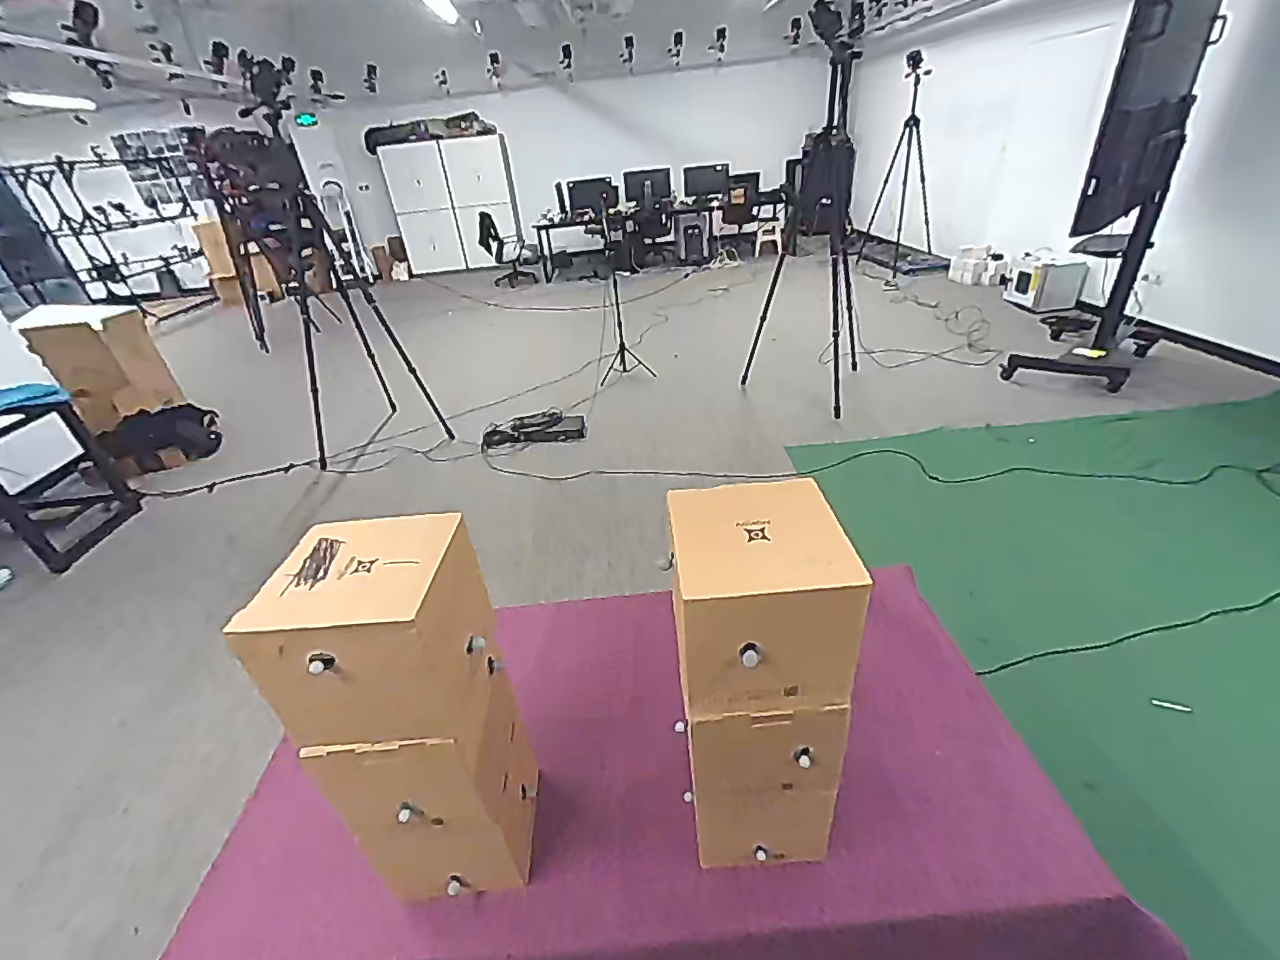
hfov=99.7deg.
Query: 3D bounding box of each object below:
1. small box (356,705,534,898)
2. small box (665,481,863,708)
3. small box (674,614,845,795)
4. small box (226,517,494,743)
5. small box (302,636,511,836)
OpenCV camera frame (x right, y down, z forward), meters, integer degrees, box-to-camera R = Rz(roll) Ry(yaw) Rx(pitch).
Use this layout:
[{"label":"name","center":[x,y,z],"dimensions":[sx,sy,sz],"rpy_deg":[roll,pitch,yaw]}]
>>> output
[{"label":"small box","center":[-0.250,0.442,0.749],"dimensions":[0.179,0.176,0.168],"rpy_deg":[-6,31,-1]},{"label":"small box","center":[0.119,0.123,0.578],"dimensions":[0.168,0.176,0.179],"rpy_deg":[-5,31,1]},{"label":"small box","center":[0.135,0.260,0.662],"dimensions":[0.168,0.176,0.179],"rpy_deg":[-5,32,0]},{"label":"small box","center":[-0.275,0.160,0.581],"dimensions":[0.179,0.176,0.168],"rpy_deg":[-4,32,1]},{"label":"small box","center":[-0.265,0.300,0.666],"dimensions":[0.168,0.176,0.179],"rpy_deg":[-6,32,1]}]
